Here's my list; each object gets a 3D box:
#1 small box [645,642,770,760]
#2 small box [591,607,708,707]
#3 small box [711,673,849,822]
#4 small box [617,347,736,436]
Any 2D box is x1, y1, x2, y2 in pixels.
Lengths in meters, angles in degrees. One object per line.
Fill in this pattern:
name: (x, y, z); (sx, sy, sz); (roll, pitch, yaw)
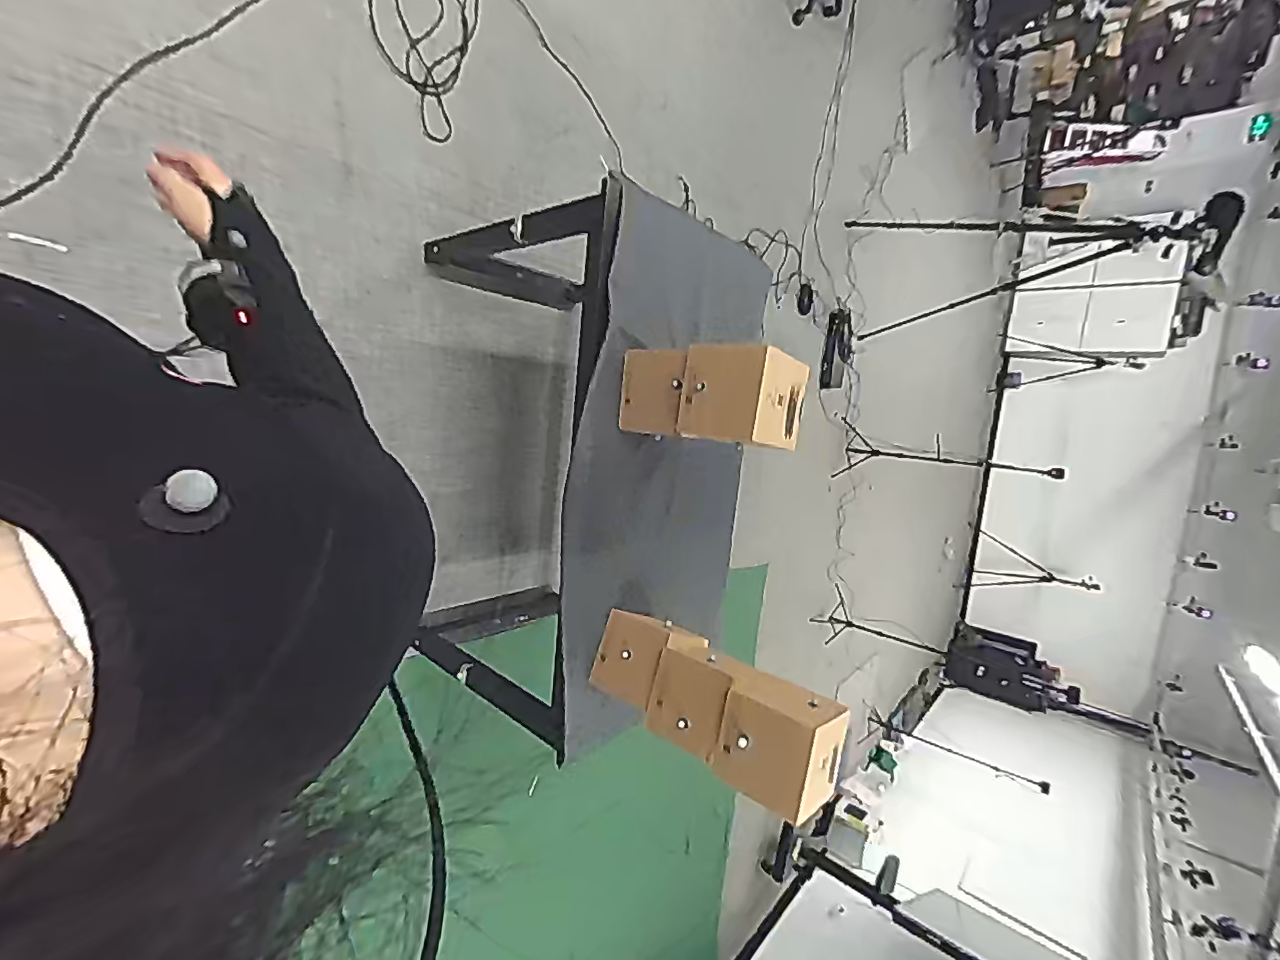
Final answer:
small box: (0.135, 0.435, 1.090); (0.179, 0.176, 0.168); (21, 84, -52)
small box: (0.020, 0.391, 1.198); (0.179, 0.176, 0.168); (29, 77, -51)
small box: (0.255, 0.468, 0.983); (0.179, 0.176, 0.168); (12, 90, -51)
small box: (0.077, -0.185, 1.135); (0.179, 0.176, 0.168); (-3, 101, -50)
